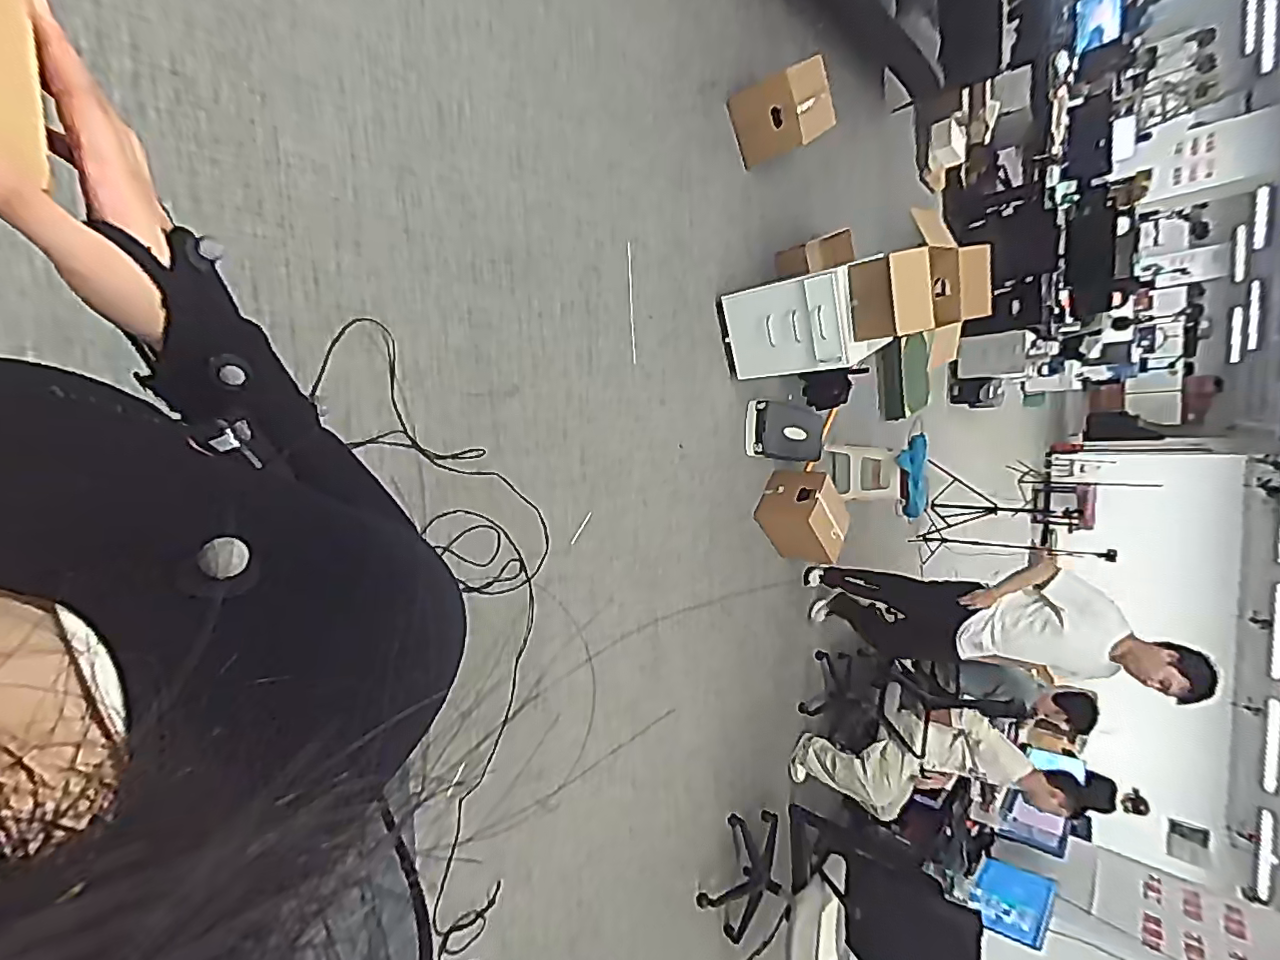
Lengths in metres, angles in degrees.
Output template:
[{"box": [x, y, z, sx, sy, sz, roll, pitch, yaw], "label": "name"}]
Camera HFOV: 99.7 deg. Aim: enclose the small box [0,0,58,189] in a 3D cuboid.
[{"box": [-0.373, -0.239, 0.222, 0.168, 0.176, 0.179, -10, 117, -49], "label": "small box"}]
